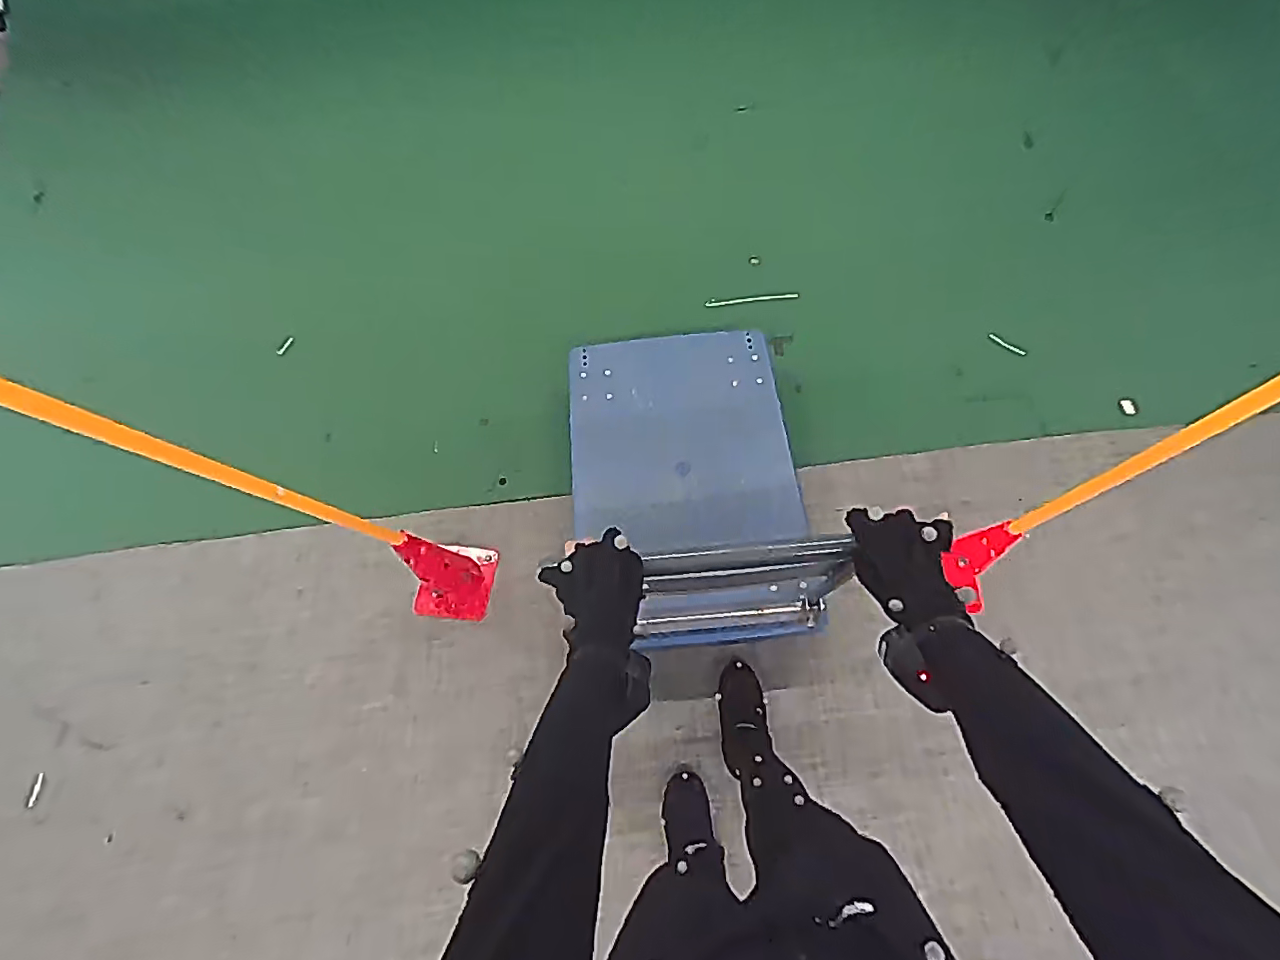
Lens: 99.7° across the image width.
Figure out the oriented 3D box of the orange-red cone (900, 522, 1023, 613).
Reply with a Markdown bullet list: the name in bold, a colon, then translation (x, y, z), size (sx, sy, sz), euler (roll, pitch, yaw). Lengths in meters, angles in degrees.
- **orange-red cone**: translation (0.779, 0.177, 1.264), size (0.198, 0.360, 0.199), euler (3, 66, 6)
